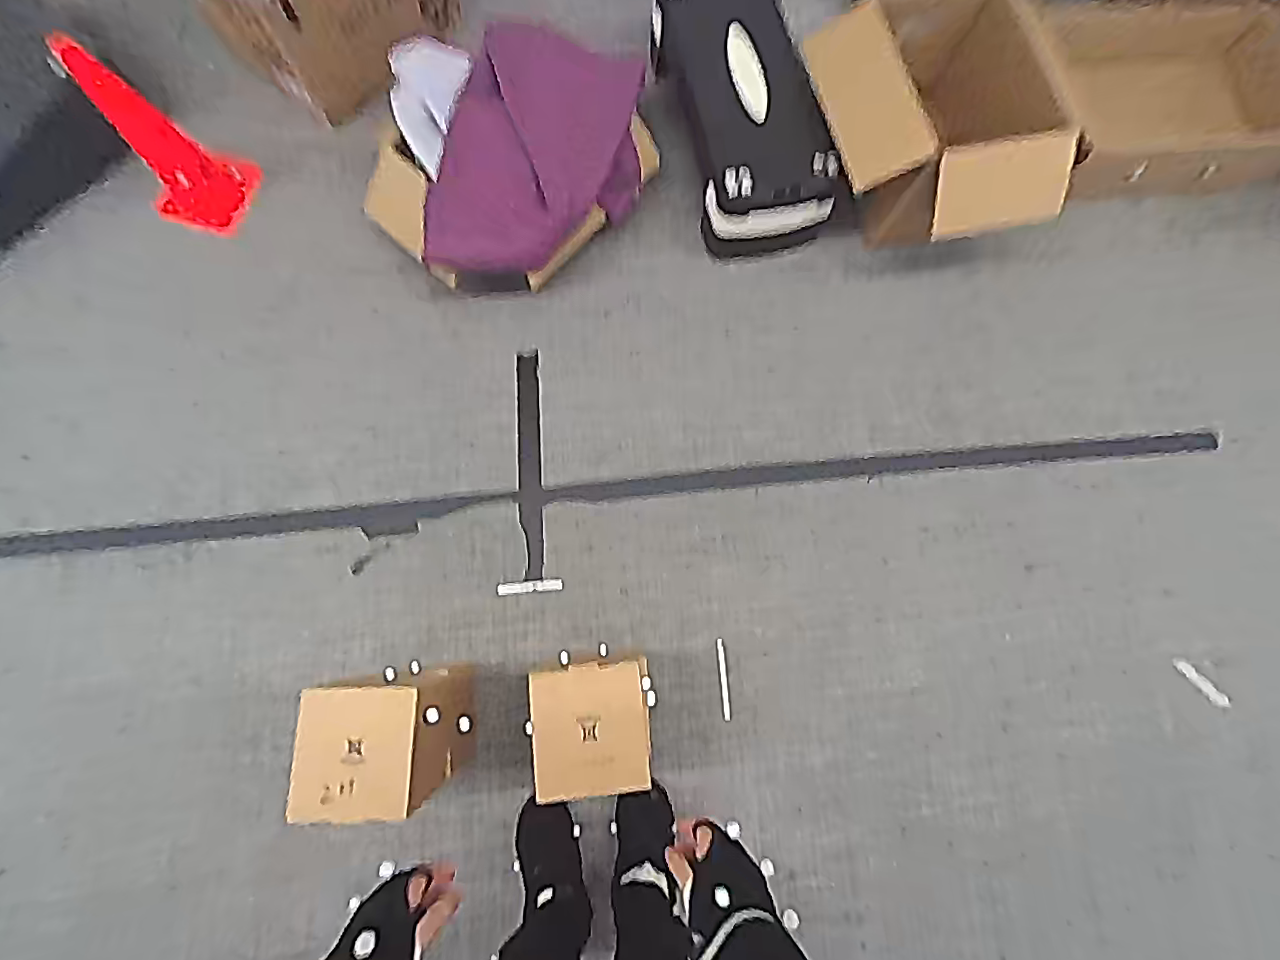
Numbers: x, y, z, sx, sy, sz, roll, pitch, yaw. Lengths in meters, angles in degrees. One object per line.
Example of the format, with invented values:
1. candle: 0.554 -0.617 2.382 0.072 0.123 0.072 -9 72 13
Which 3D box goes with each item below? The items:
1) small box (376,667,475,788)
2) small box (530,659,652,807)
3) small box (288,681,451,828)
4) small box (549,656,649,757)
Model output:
1. small box: -0.409 0.453 0.998 0.168 0.176 0.179 -5 78 -3
2. small box: -0.075 0.387 0.860 0.168 0.176 0.179 -7 78 -2
3. small box: -0.402 0.411 0.837 0.168 0.176 0.179 0 77 -1
4. small box: -0.076 0.425 1.017 0.179 0.176 0.168 -1 77 -3
